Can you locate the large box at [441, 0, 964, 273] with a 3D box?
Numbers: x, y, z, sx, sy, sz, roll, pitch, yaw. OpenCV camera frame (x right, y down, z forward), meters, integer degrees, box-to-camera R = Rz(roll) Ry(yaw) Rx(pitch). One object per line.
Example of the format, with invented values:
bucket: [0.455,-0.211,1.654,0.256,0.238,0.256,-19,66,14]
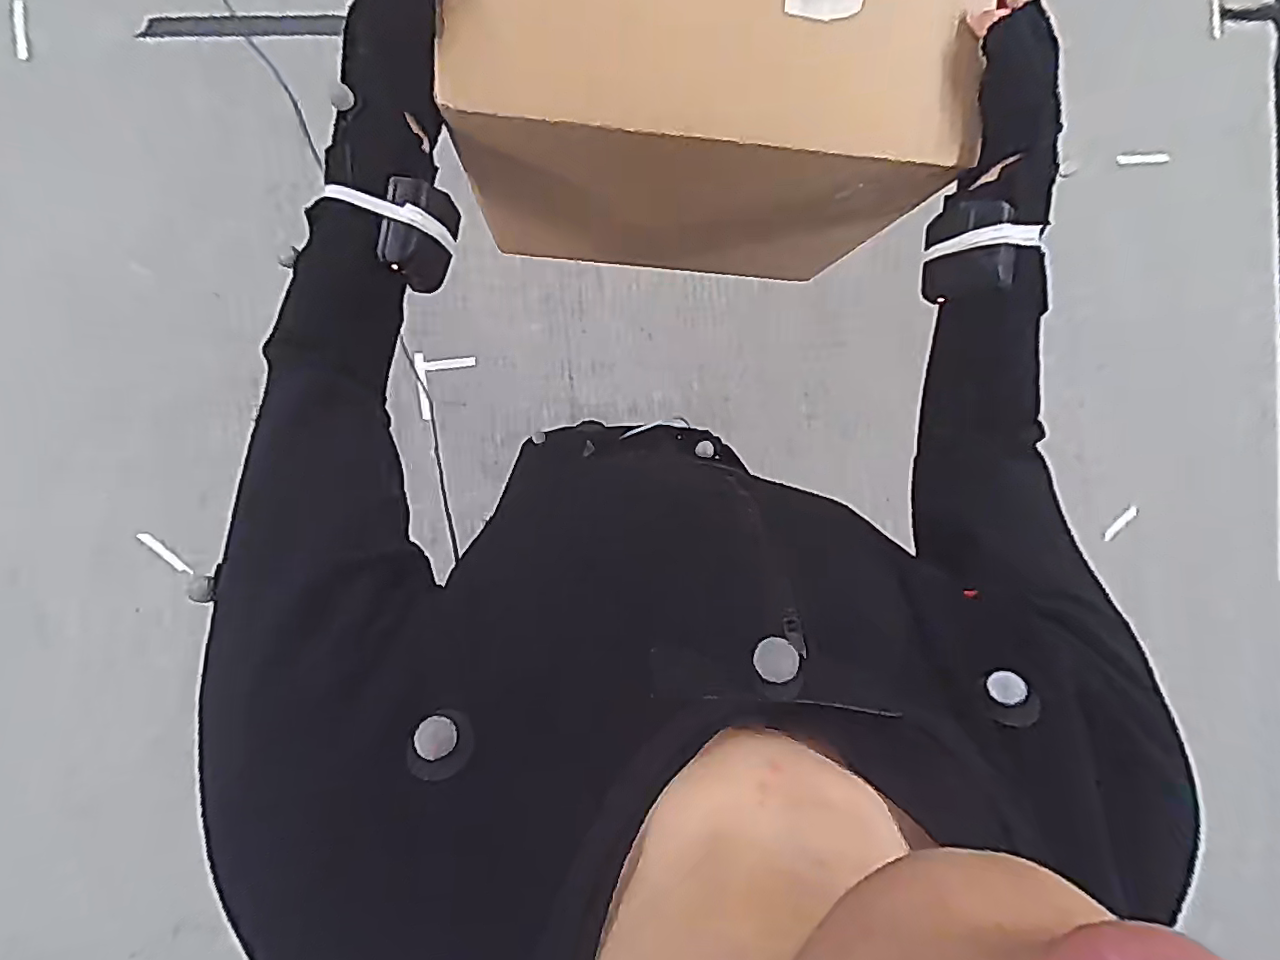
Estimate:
large box: [0.038,-0.420,0.545,0.408,0.320,0.320,2,95,-8]
